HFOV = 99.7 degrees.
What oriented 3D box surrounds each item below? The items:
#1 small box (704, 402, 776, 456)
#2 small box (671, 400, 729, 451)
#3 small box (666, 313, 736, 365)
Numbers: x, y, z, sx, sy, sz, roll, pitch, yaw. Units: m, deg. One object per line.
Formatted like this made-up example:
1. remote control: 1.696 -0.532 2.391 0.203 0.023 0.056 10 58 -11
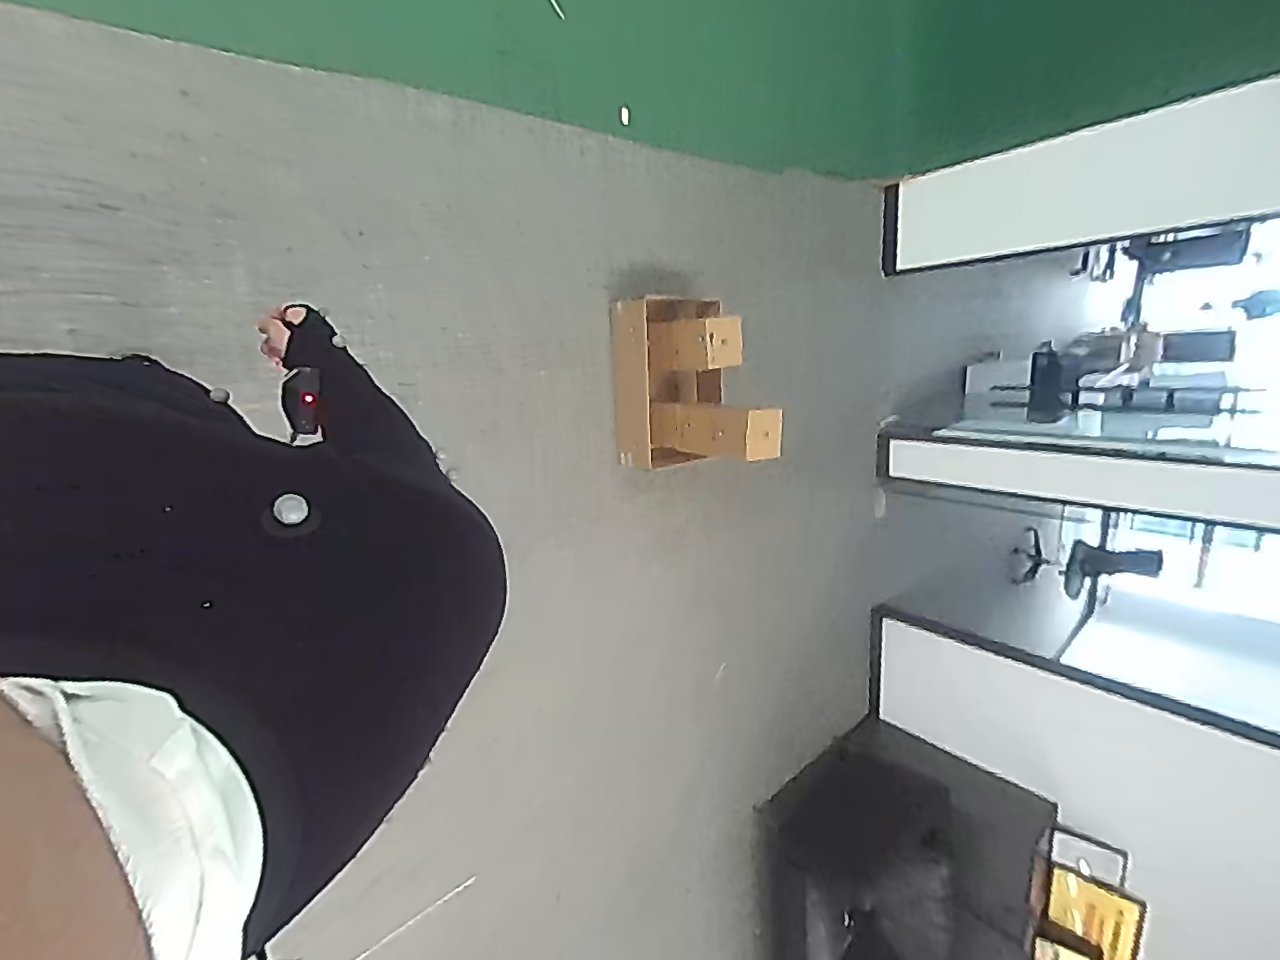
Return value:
1. small box: 0.339 -0.178 1.841 0.179 0.176 0.168 -8 104 -38
2. small box: 0.236 -0.204 1.967 0.179 0.176 0.168 -9 105 -38
3. small box: 0.214 -0.493 1.888 0.179 0.176 0.168 -17 109 -38
